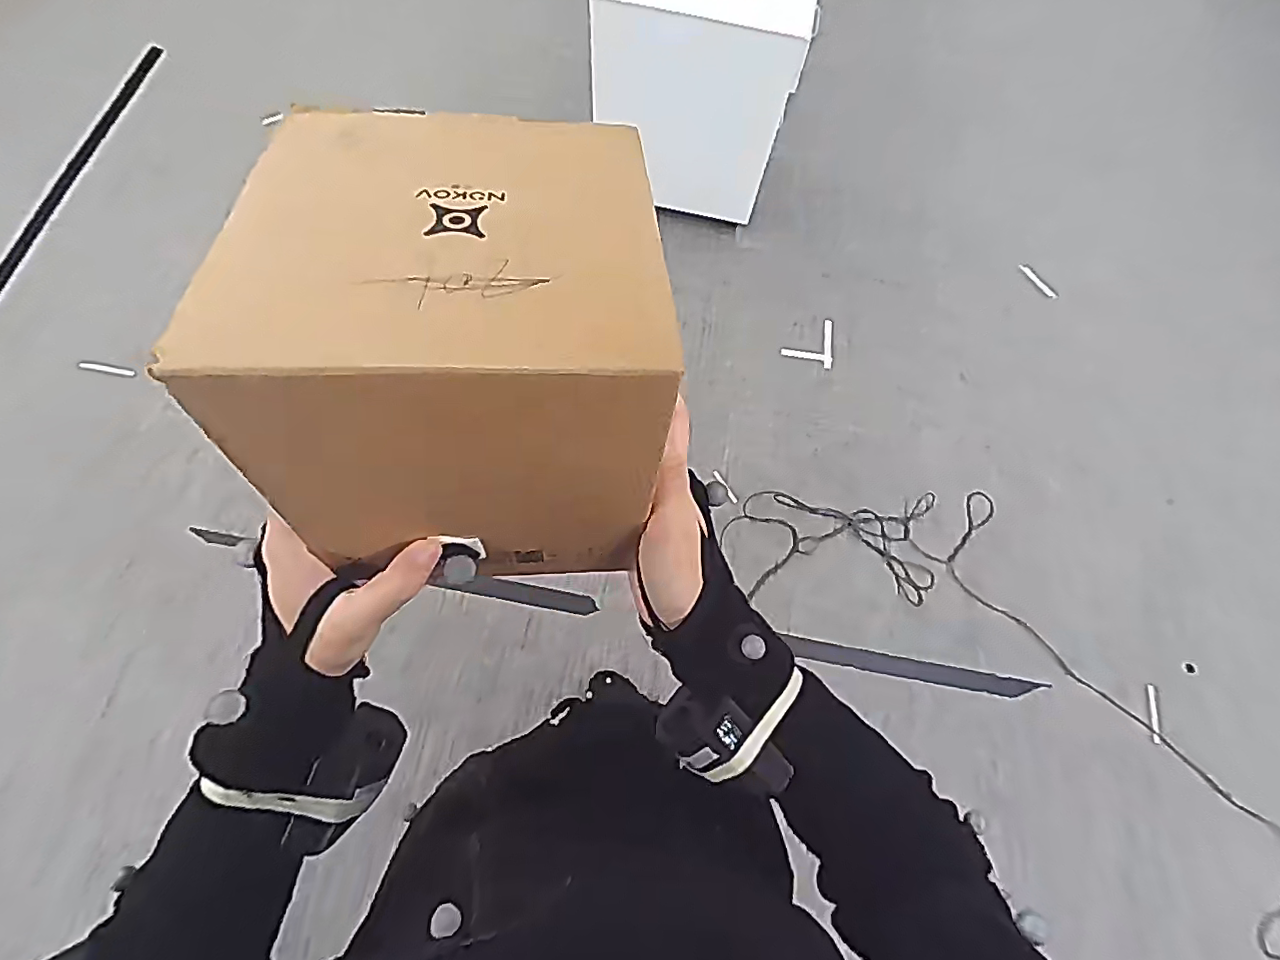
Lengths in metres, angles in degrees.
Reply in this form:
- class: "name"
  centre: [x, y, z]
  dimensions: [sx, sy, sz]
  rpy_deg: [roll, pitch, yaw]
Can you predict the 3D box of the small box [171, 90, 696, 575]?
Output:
- class: "small box"
  centre: [-0.077, -0.066, 0.284]
  dimensions: [0.168, 0.176, 0.179]
  rpy_deg: [-1, 57, -8]
